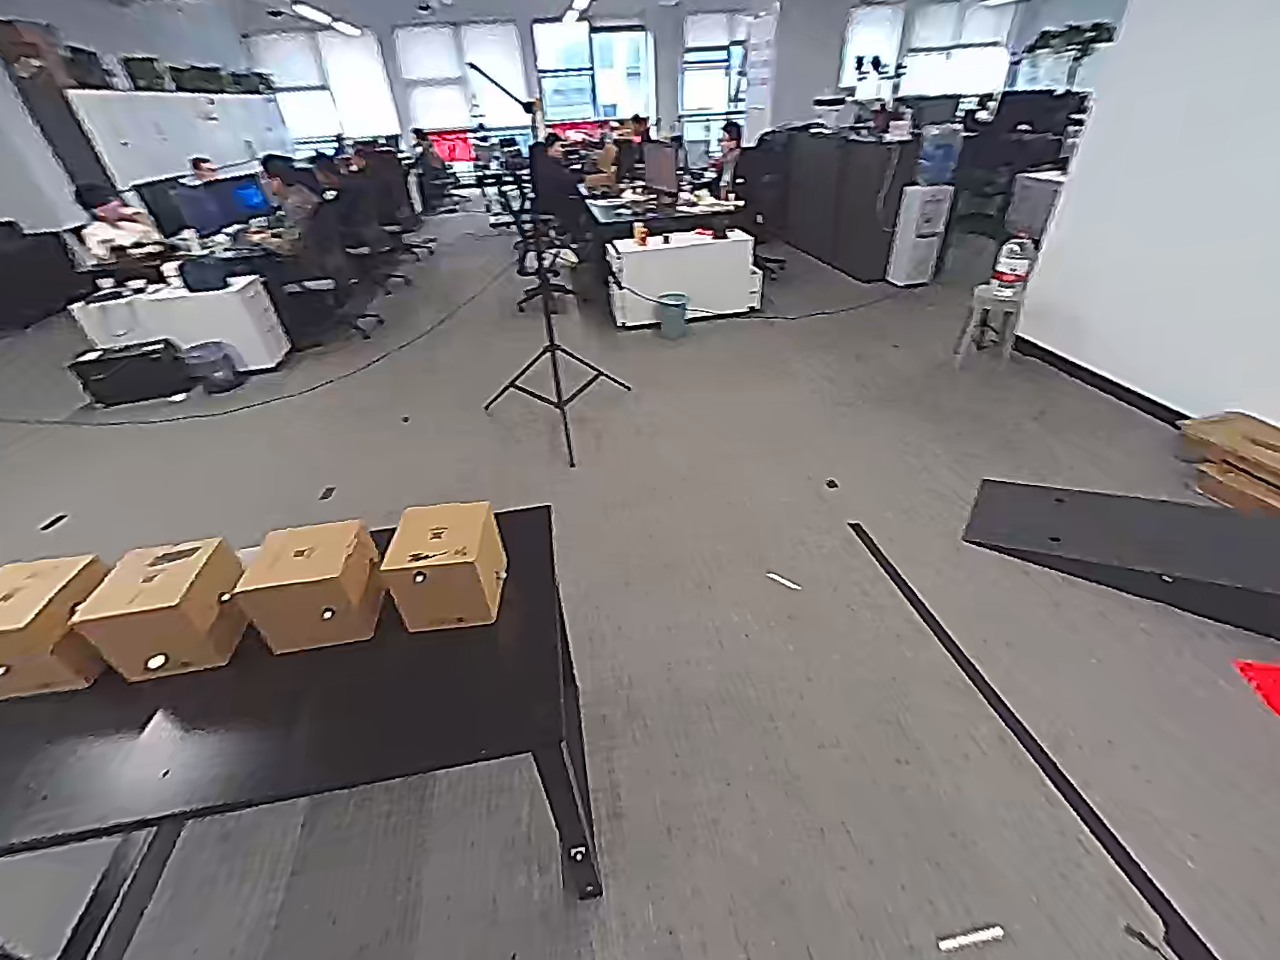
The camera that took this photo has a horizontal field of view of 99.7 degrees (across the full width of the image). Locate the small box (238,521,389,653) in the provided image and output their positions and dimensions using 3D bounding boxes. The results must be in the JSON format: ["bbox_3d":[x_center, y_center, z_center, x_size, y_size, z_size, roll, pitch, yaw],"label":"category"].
[{"bbox_3d":[-0.603,0.204,1.031,0.179,0.176,0.168,-9,34,-6],"label":"small box"}]

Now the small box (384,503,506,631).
[{"bbox_3d":[-0.366,0.168,1.054,0.168,0.176,0.179,-6,34,-1],"label":"small box"}]

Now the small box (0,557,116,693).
[{"bbox_3d":[-1.070,0.267,0.983,0.168,0.176,0.179,-6,35,-4],"label":"small box"}]

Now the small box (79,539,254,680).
[{"bbox_3d":[-0.848,0.238,1.003,0.168,0.176,0.179,-9,36,-6],"label":"small box"}]
